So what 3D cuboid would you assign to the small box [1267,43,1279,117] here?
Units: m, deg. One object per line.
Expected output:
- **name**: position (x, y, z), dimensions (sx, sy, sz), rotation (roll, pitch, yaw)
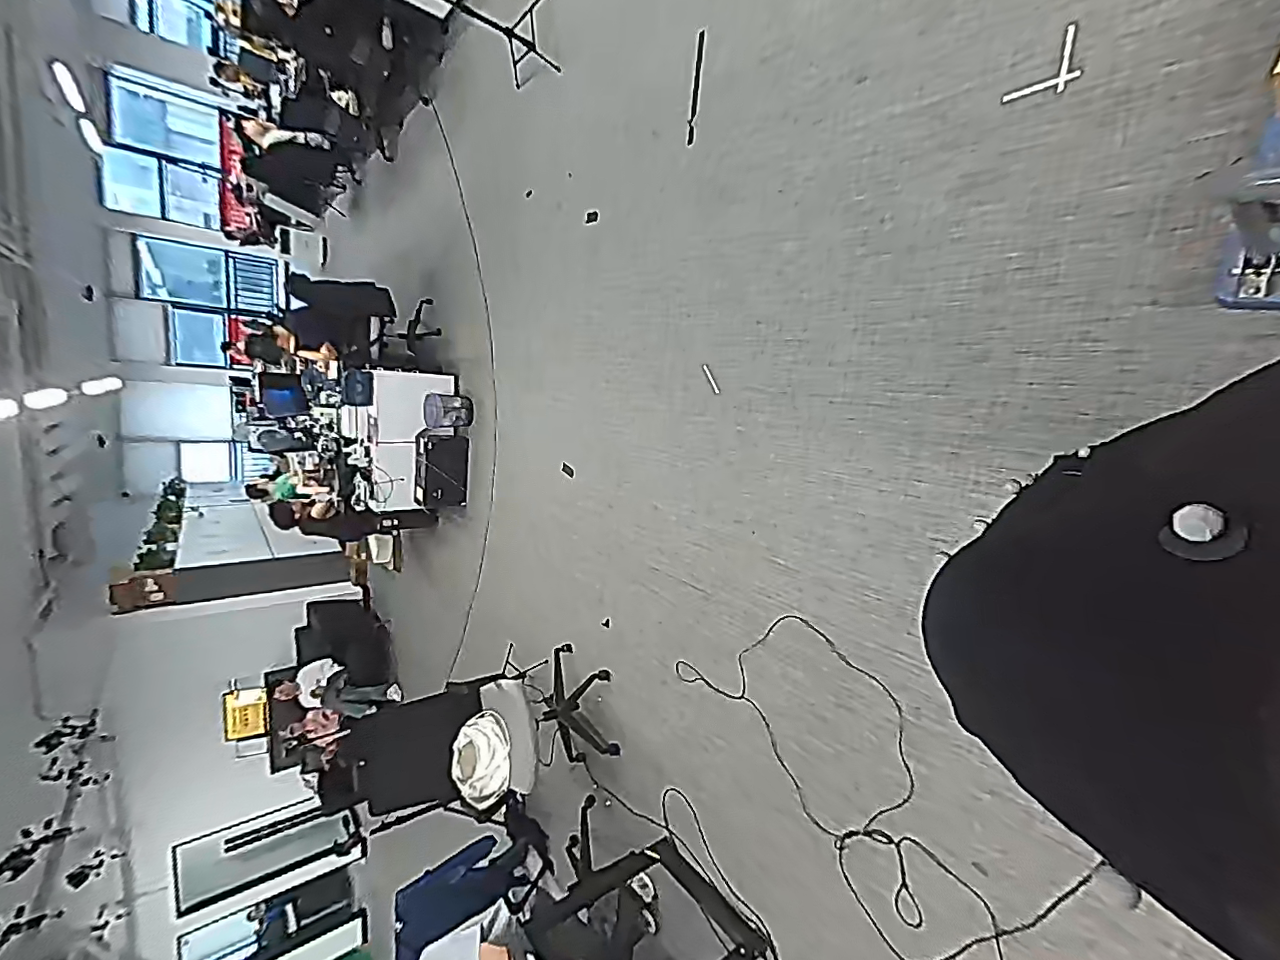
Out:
- **small box**: position (1.033, -0.632, 0.748), dimensions (0.179, 0.176, 0.168), rotation (28, 113, 45)
